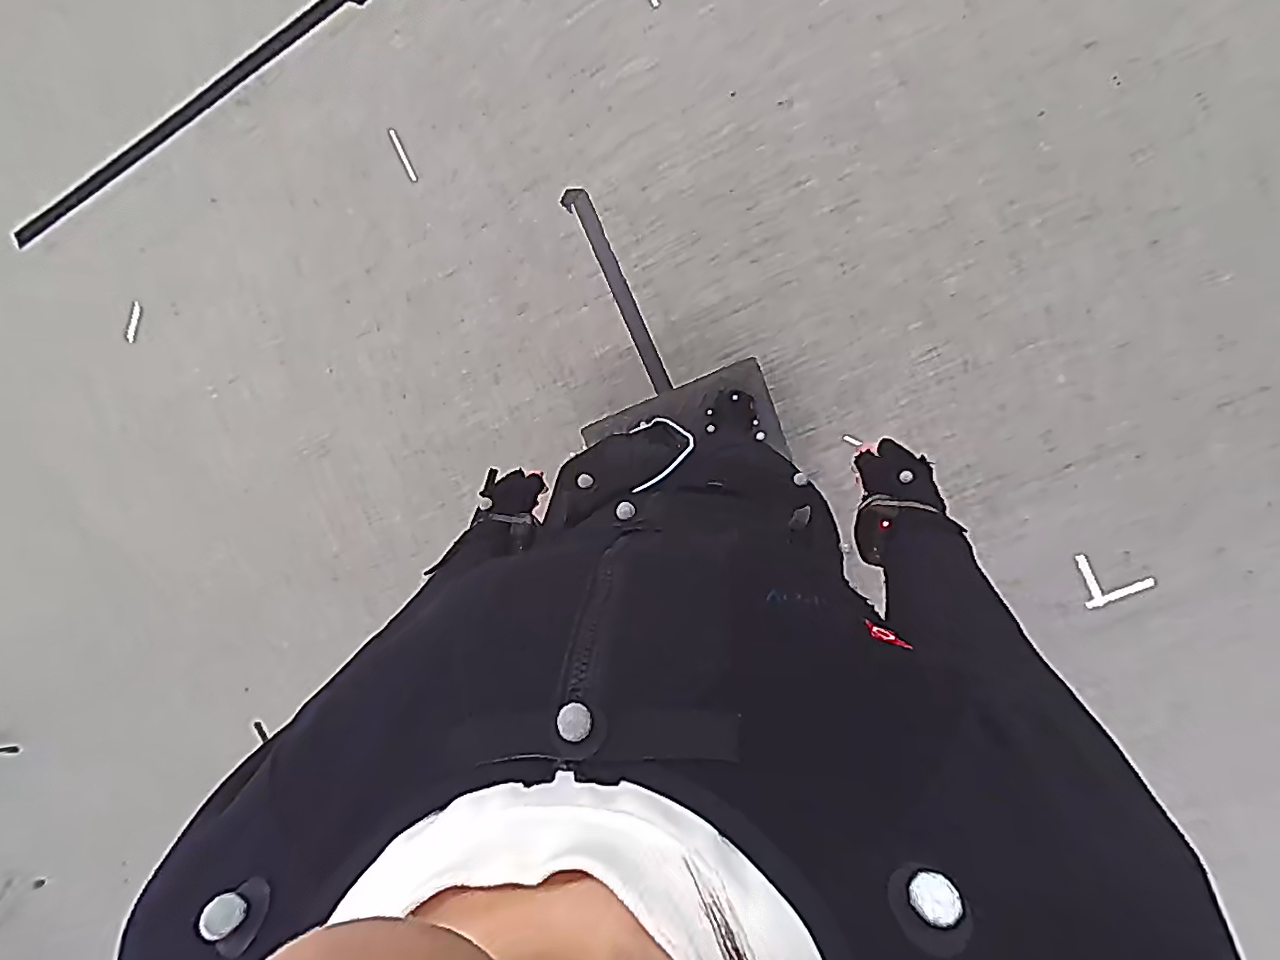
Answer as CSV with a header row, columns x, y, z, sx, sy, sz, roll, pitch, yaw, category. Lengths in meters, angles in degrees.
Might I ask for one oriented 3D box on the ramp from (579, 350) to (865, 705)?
x,y,z,sx,sy,sz,roll,pitch,yaw,category
0.258,0.191,1.522,0.509,0.206,0.991,-23,96,10,ramp
